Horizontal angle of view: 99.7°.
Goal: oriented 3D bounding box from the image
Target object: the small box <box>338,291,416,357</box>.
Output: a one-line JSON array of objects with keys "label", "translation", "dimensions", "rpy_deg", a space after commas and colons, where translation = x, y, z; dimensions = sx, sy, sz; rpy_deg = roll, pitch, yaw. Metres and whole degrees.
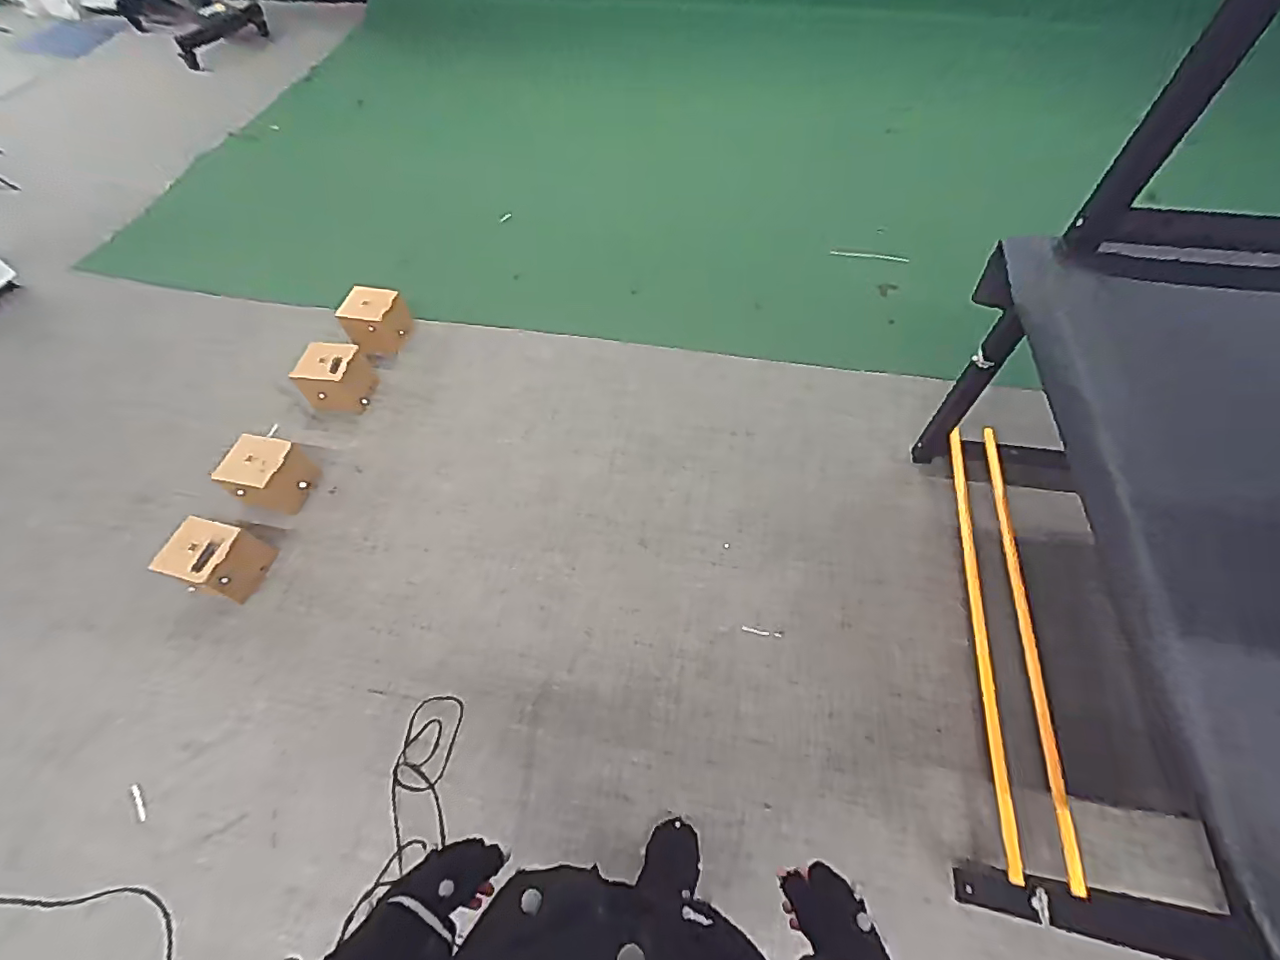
[{"label": "small box", "translation": [-0.977, -0.581, 2.023], "dimensions": [0.179, 0.176, 0.168], "rpy_deg": [8, 59, 7]}]

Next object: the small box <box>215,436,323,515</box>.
[{"label": "small box", "translation": [-1.126, -0.010, 1.656], "dimensions": [0.179, 0.176, 0.168], "rpy_deg": [10, 59, 7]}]

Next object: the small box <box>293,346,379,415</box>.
[{"label": "small box", "translation": [-1.039, -0.340, 1.868], "dimensions": [0.179, 0.176, 0.168], "rpy_deg": [5, 57, 6]}]
